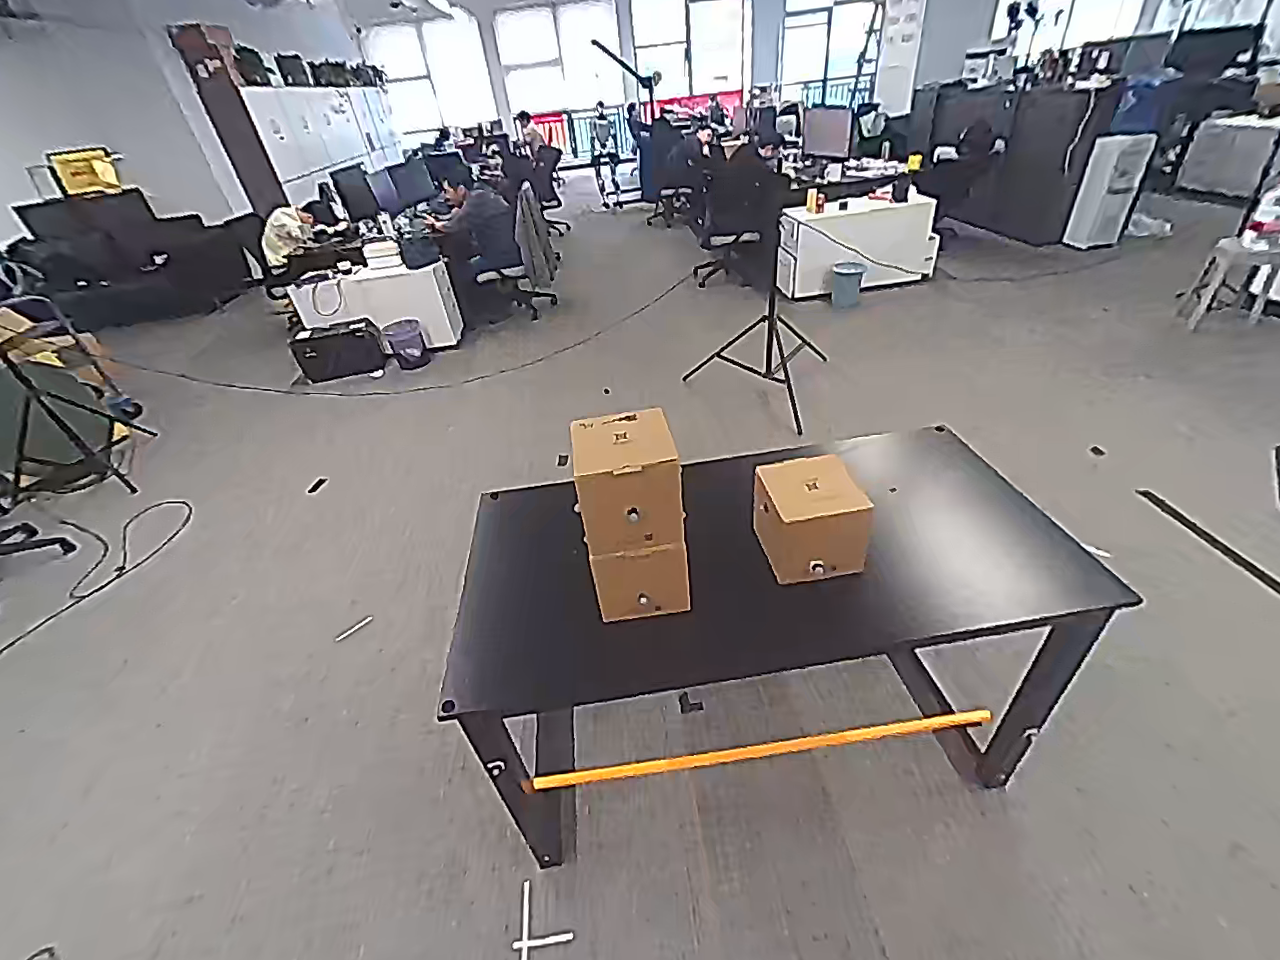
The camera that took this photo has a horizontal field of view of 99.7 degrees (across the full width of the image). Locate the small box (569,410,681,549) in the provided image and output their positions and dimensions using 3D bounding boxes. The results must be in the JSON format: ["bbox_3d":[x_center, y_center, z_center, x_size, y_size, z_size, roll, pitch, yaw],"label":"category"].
[{"bbox_3d":[-0.026,0.004,0.941,0.168,0.176,0.179,-10,37,-3],"label":"small box"}]

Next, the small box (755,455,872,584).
[{"bbox_3d":[0.326,0.076,1.059,0.168,0.176,0.179,-11,37,-2],"label":"small box"}]

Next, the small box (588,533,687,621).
[{"bbox_3d":[-0.005,0.140,1.030,0.168,0.176,0.179,-8,36,0],"label":"small box"}]
